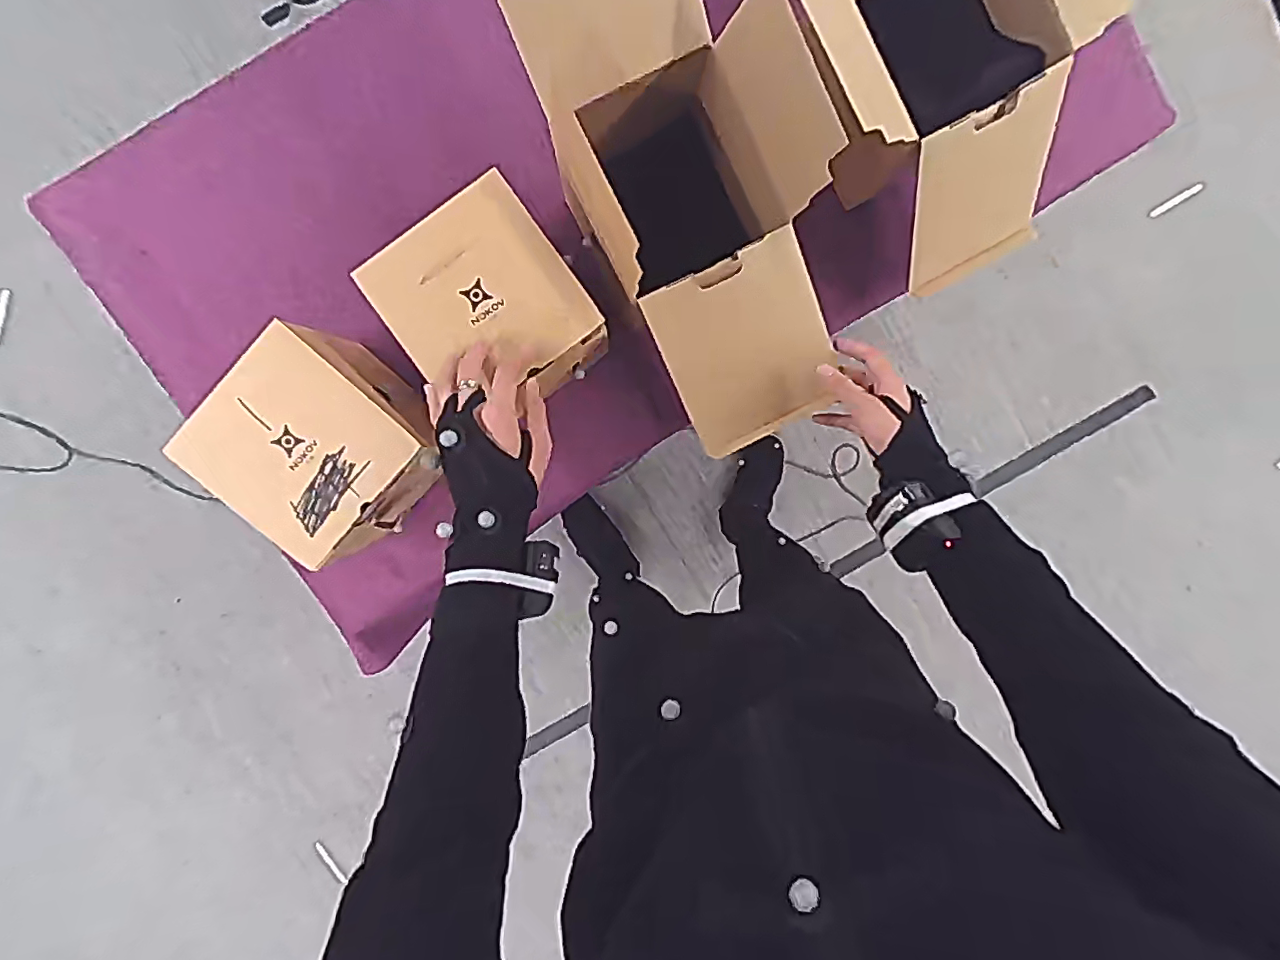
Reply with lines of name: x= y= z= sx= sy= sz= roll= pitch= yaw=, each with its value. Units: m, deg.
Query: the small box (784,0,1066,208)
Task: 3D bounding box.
small box: x=0.277 y=-0.429 z=0.568 sx=0.168 sy=0.176 sz=0.179 roll=-29 pitch=97 yaw=2
